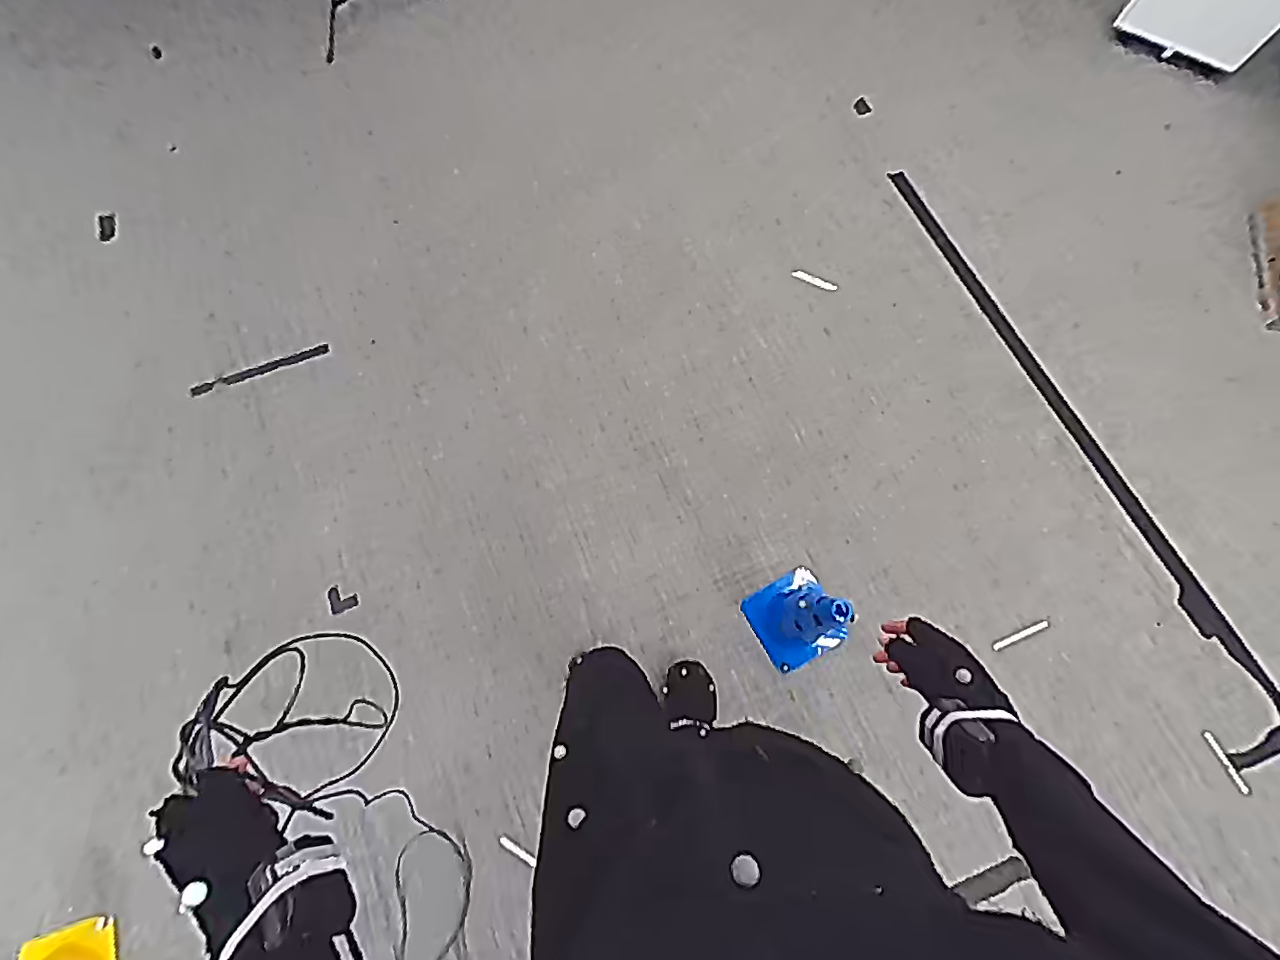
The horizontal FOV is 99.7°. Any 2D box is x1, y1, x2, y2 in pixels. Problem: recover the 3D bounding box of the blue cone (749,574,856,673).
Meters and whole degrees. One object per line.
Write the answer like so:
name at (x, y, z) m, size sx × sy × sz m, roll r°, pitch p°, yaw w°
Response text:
blue cone at (0.374, 0.297, 1.156) m, size 0.193 × 0.380 × 0.192 m, roll -27°, pitch 75°, yaw -7°
